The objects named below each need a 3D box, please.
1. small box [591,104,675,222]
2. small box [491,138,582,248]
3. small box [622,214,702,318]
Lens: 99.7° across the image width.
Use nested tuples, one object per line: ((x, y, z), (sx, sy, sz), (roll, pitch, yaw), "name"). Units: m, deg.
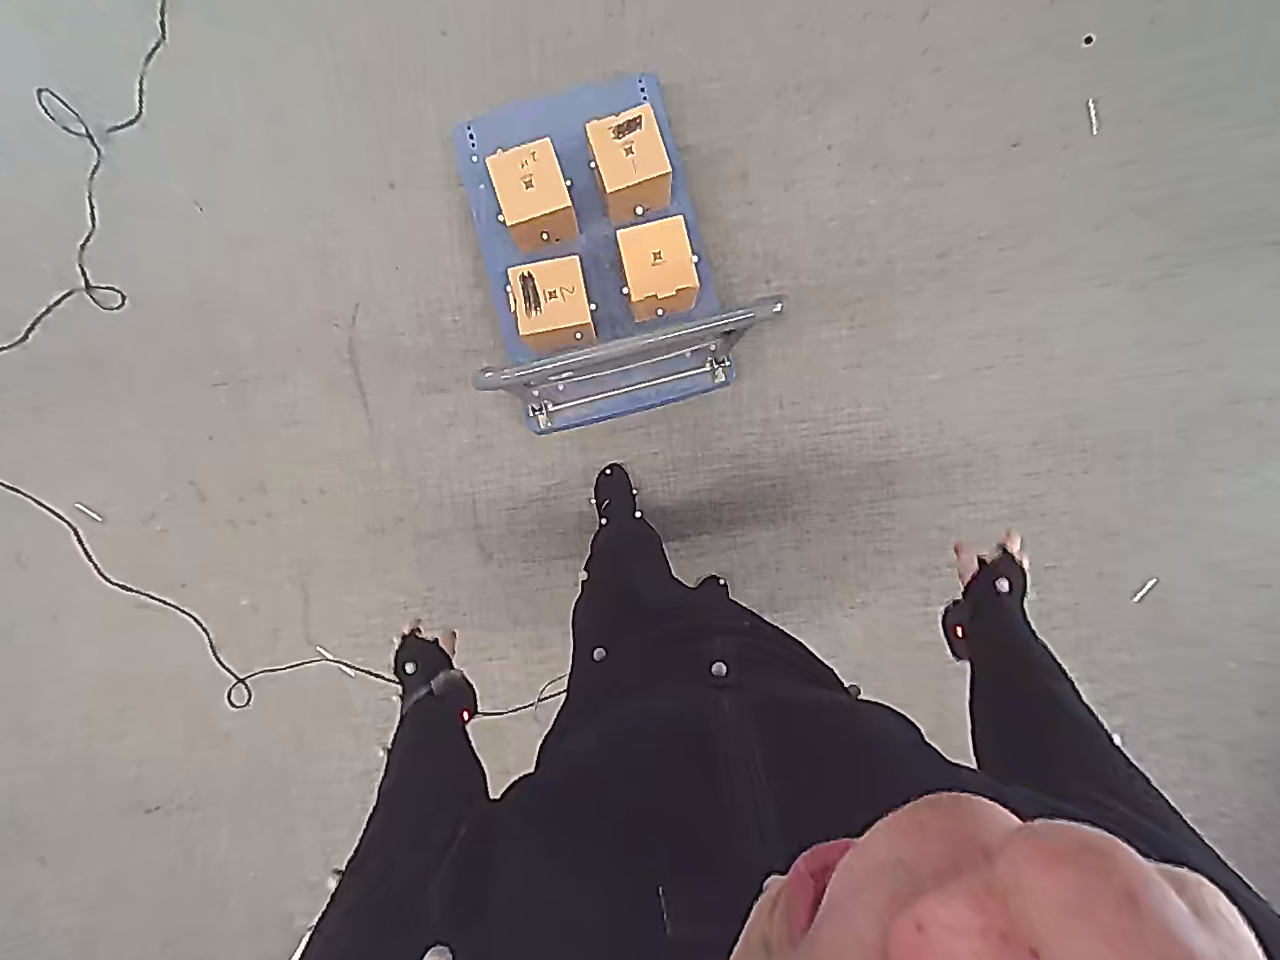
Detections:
((-0.017, -0.798, 1.376), (0.168, 0.176, 0.179), (-18, 90, 2), "small box")
((-0.256, -0.717, 1.380), (0.168, 0.176, 0.179), (-18, 89, 0), "small box")
((0.052, -0.536, 1.373), (0.168, 0.176, 0.179), (-14, 90, 1), "small box")
